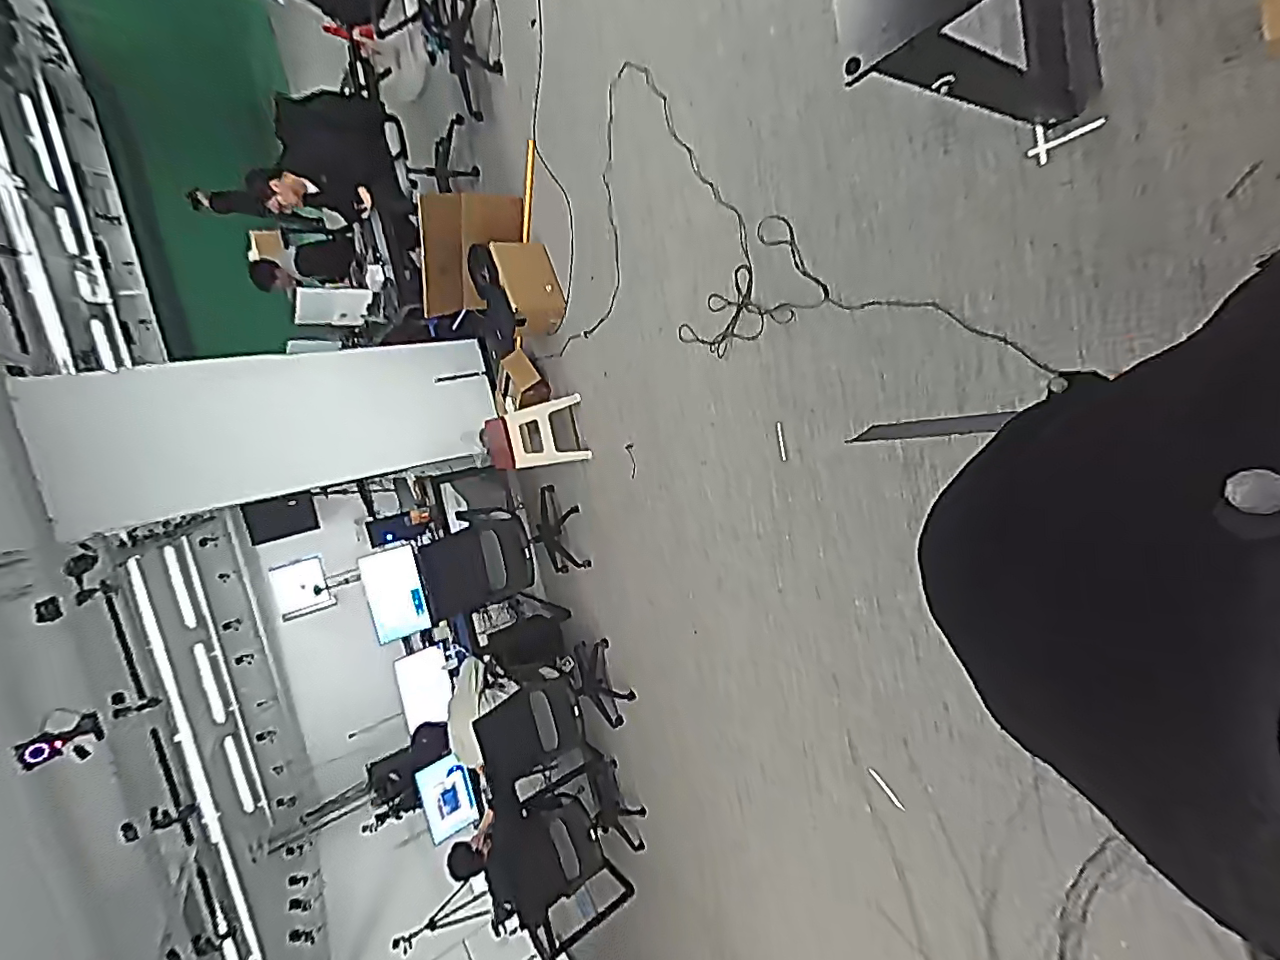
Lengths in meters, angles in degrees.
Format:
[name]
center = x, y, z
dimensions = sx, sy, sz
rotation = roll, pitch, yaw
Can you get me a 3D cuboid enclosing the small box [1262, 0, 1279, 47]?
[small box]
center = 1.041, -0.774, 0.788
dimensions = 0.168, 0.176, 0.179
rotation = -2, 102, 56
